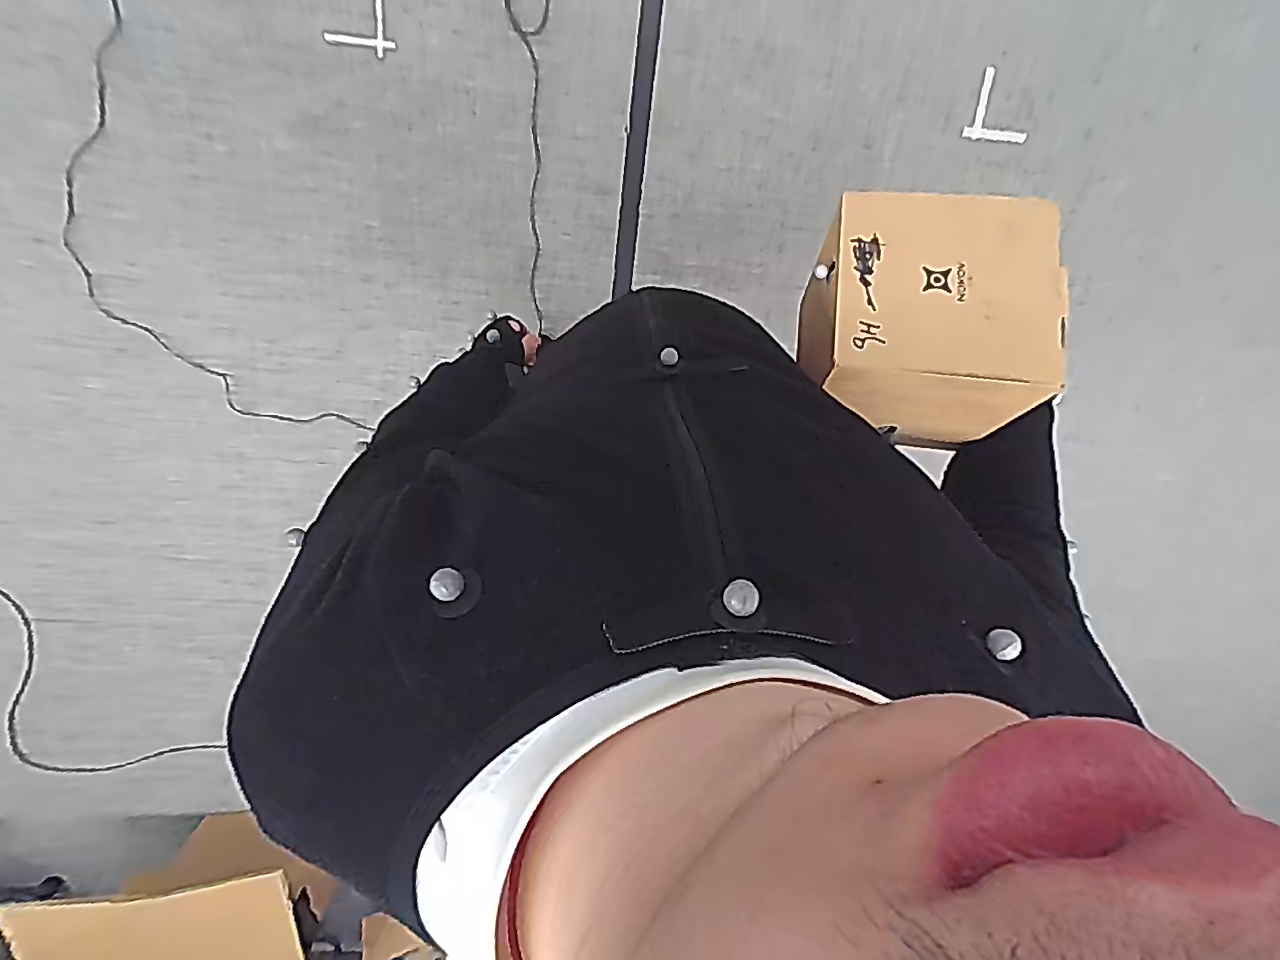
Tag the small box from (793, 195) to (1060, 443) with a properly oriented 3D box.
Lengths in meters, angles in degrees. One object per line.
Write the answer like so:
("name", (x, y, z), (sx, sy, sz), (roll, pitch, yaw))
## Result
("small box", (0.261, -0.143, 0.528), (0.179, 0.176, 0.168), (7, 75, 6))
